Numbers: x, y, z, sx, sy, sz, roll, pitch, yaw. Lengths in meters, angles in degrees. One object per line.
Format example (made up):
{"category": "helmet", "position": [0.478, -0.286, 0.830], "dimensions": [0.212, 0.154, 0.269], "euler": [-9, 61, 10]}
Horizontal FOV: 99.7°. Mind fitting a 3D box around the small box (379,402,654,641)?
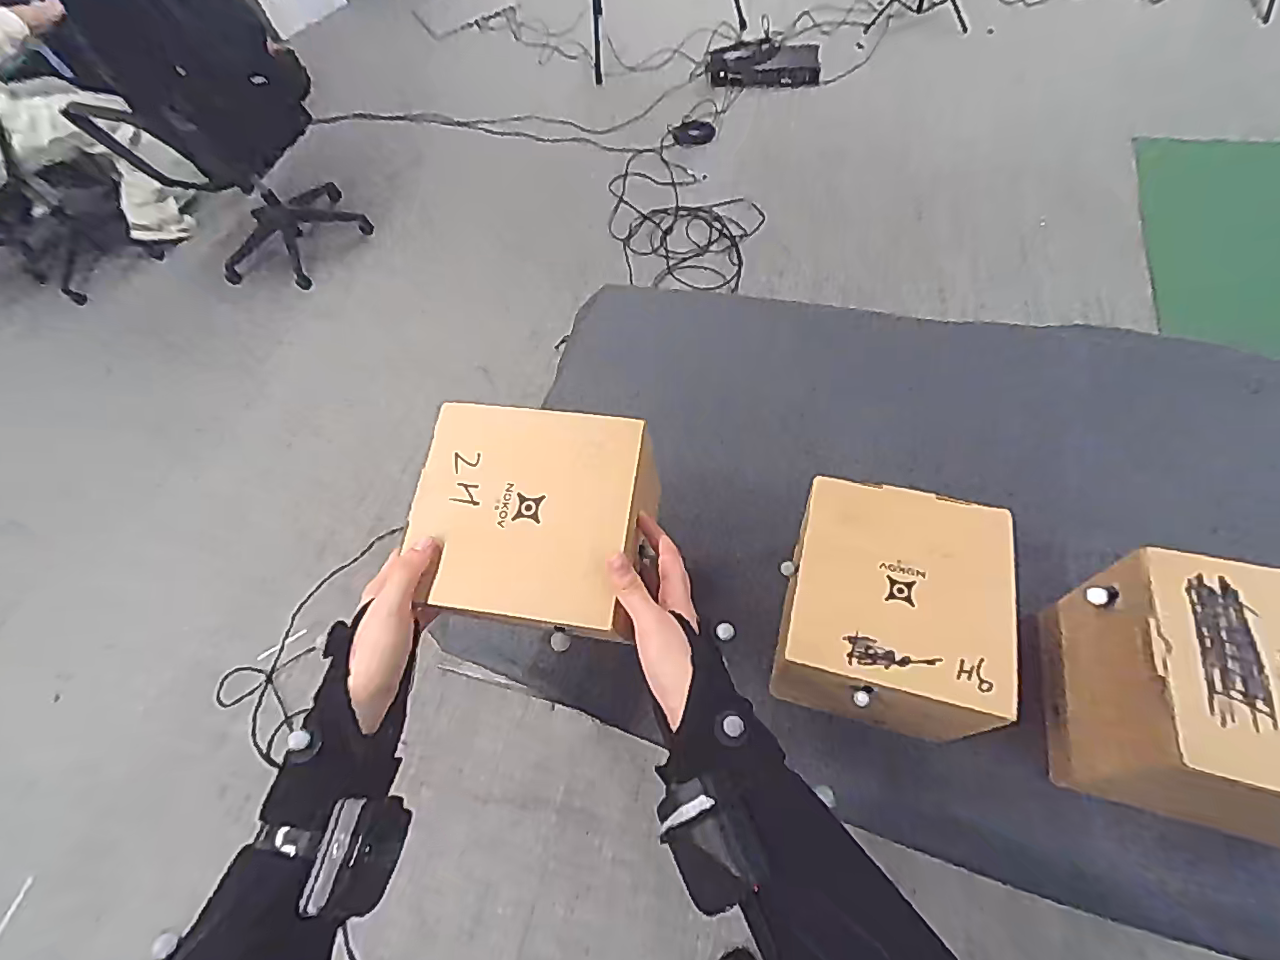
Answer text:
{"category": "small box", "position": [-0.087, 0.048, 0.484], "dimensions": [0.179, 0.176, 0.168], "euler": [6, 71, 9]}
